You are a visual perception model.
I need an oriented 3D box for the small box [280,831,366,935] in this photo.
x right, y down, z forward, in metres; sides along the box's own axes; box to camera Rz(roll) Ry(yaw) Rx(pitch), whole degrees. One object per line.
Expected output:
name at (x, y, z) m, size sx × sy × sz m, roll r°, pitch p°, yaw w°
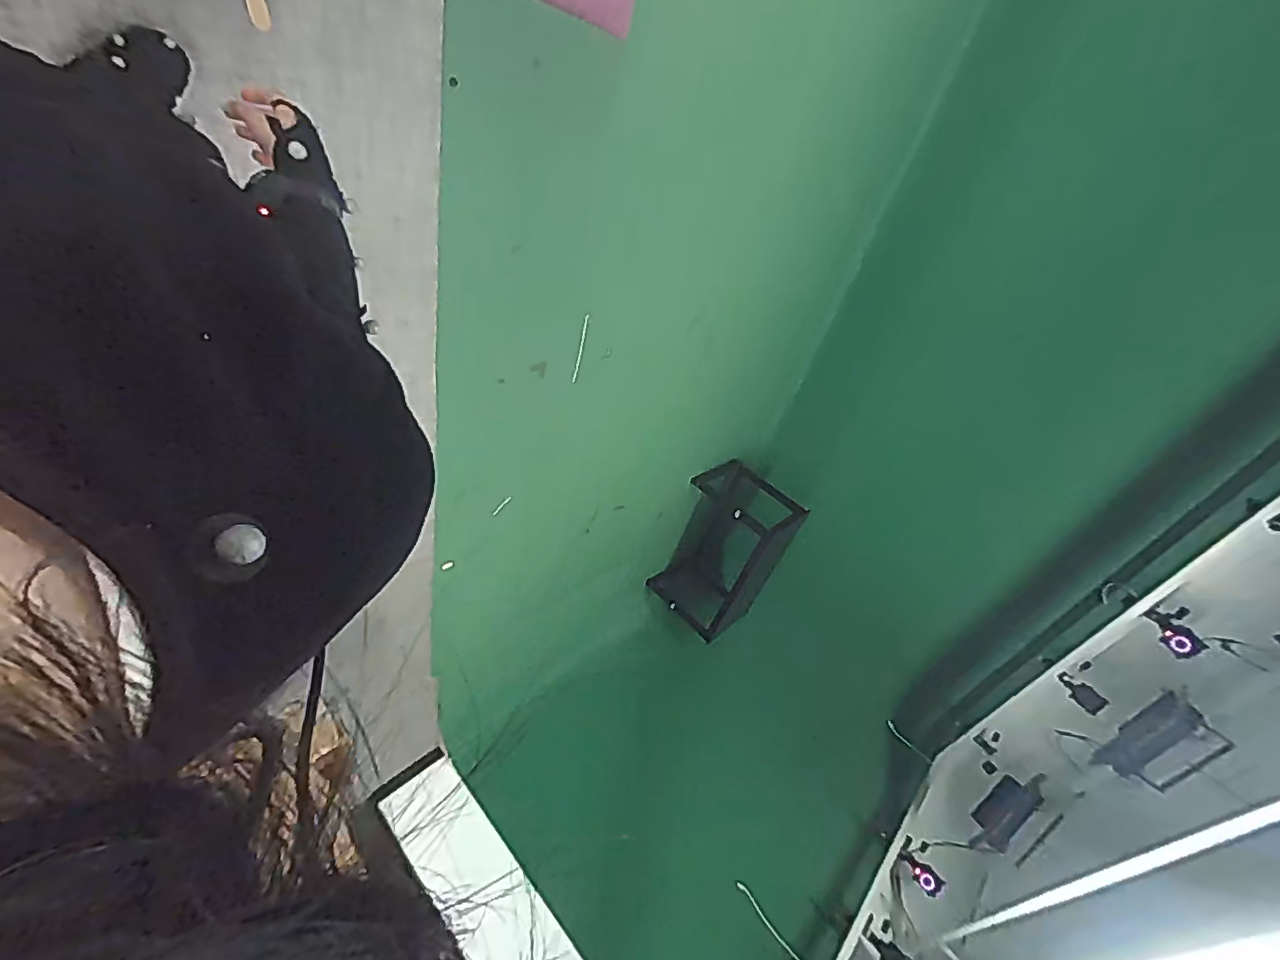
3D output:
small box at (-0.952, 1.209, 1.630) m, size 0.168 × 0.176 × 0.179 m, roll -26°, pitch 145°, yaw -41°
